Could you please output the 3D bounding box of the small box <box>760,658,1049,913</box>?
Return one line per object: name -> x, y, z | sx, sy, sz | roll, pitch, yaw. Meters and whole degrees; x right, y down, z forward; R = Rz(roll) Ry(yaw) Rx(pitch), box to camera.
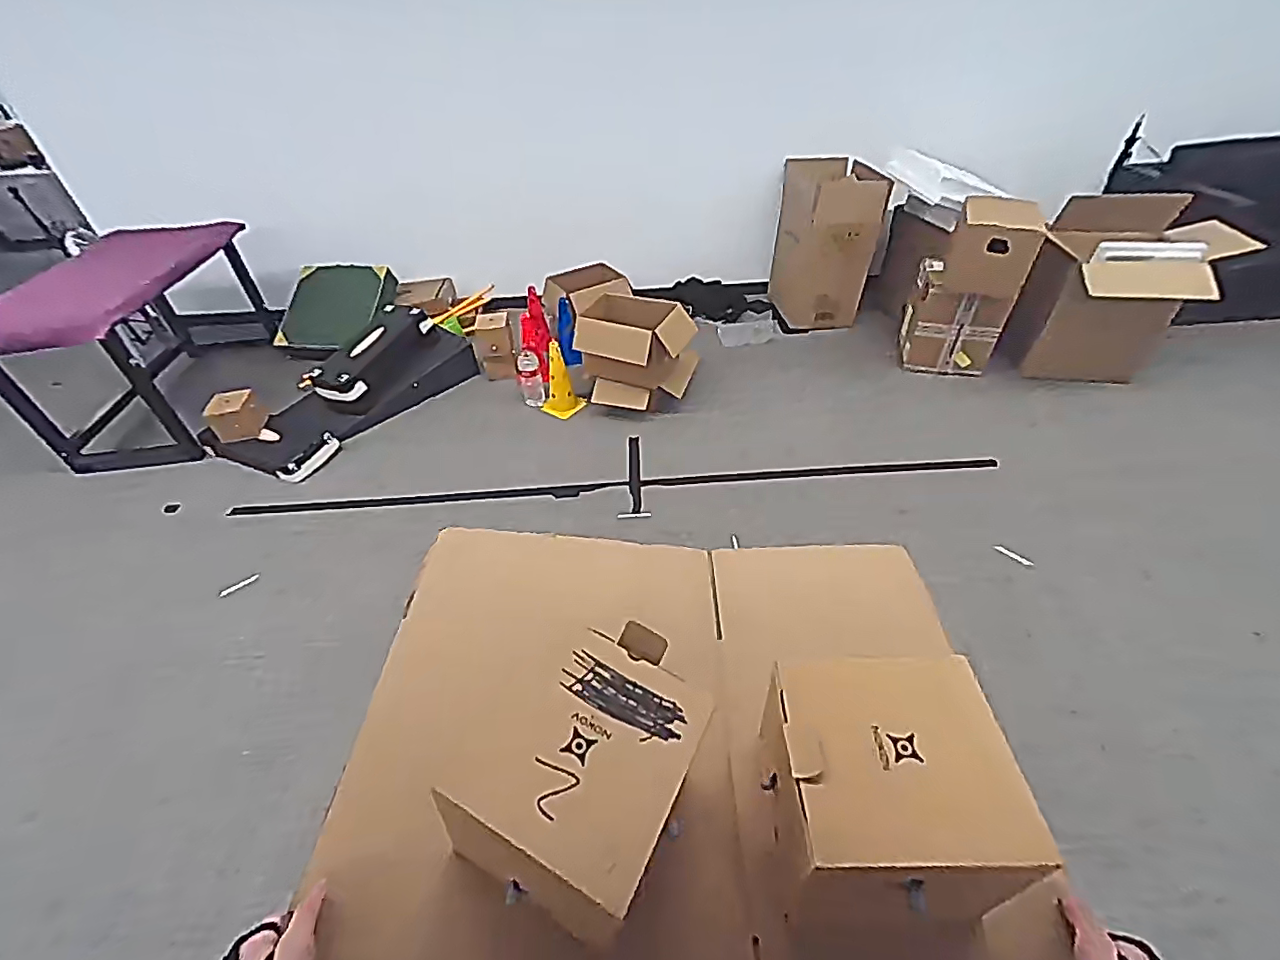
small box -> 0.218, 0.285, 0.507 | 0.179, 0.176, 0.168 | -3, 41, 3
